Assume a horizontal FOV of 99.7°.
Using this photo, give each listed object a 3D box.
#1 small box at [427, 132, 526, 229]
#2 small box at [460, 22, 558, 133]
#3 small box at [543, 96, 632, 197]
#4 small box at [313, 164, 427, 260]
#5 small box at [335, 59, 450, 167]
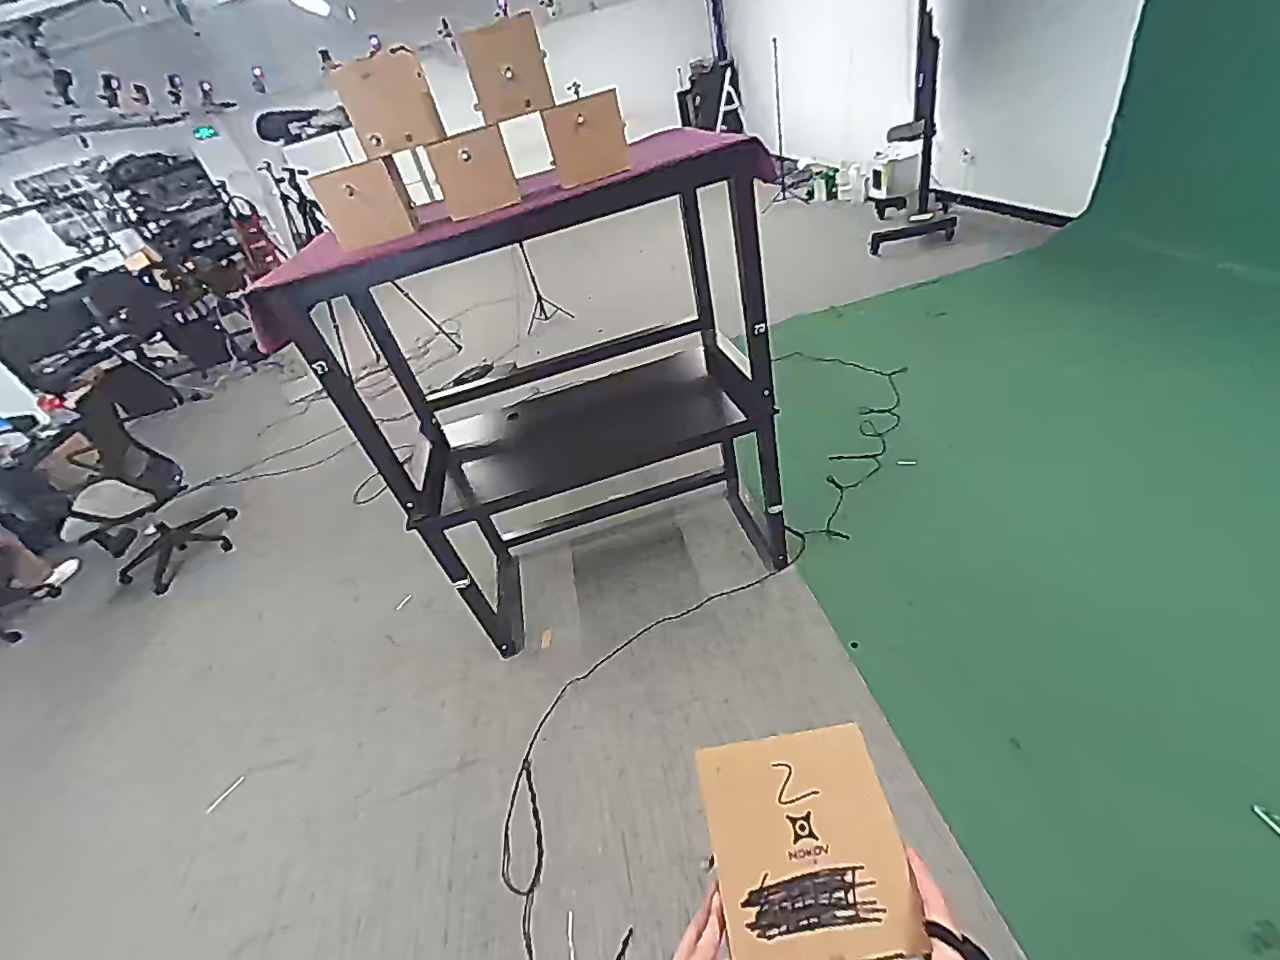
[{"bbox_3d":[-0.390,-0.731,1.318,0.179,0.176,0.168,-17,36,-1],"label":"small box"},{"bbox_3d":[-0.294,-0.908,1.235,0.168,0.176,0.179,-18,36,-1],"label":"small box"},{"bbox_3d":[-0.126,-0.818,1.327,0.179,0.176,0.168,-19,36,0],"label":"small box"},{"bbox_3d":[-0.647,-0.655,1.319,0.179,0.176,0.168,-19,37,-3],"label":"small box"},{"bbox_3d":[-0.550,-0.828,1.230,0.168,0.176,0.179,-16,35,0],"label":"small box"}]
